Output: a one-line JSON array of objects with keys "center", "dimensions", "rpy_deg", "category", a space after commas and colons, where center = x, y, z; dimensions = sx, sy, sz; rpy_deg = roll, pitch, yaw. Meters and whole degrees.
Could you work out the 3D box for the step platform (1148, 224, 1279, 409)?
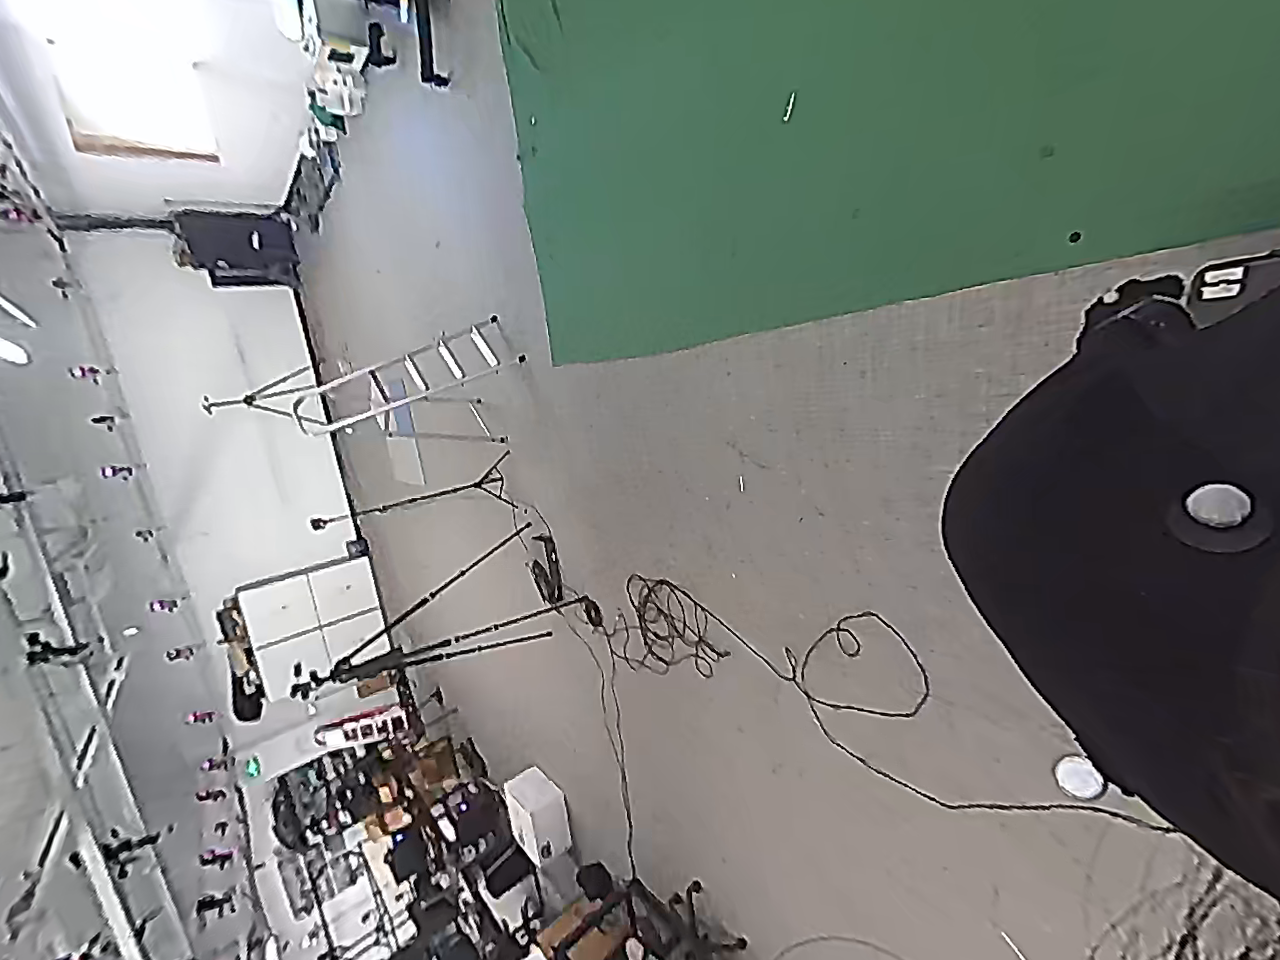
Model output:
[{"center": [1.188, -0.273, 0.752], "dimensions": [0.684, 0.204, 0.286], "rpy_deg": [4, 107, 52], "category": "step platform"}]
